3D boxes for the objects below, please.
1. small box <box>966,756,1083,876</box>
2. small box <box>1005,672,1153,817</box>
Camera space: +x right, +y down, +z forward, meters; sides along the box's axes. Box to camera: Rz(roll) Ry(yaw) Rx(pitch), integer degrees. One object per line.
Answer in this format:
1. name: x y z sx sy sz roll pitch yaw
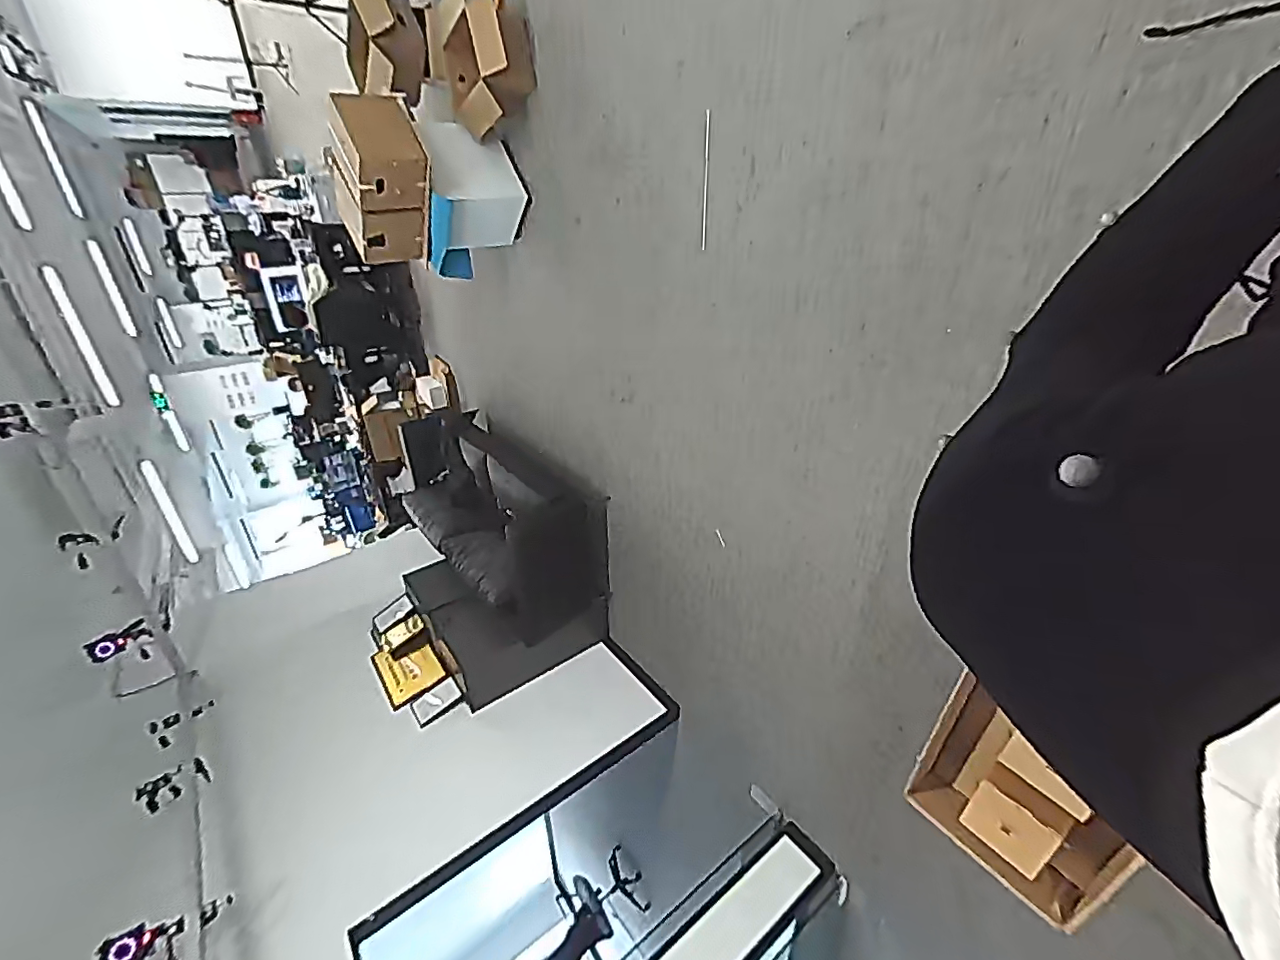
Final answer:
1. small box: 0.910 0.758 1.263 0.168 0.176 0.179 35 133 44
2. small box: 0.912 0.543 1.126 0.168 0.176 0.179 35 135 42
